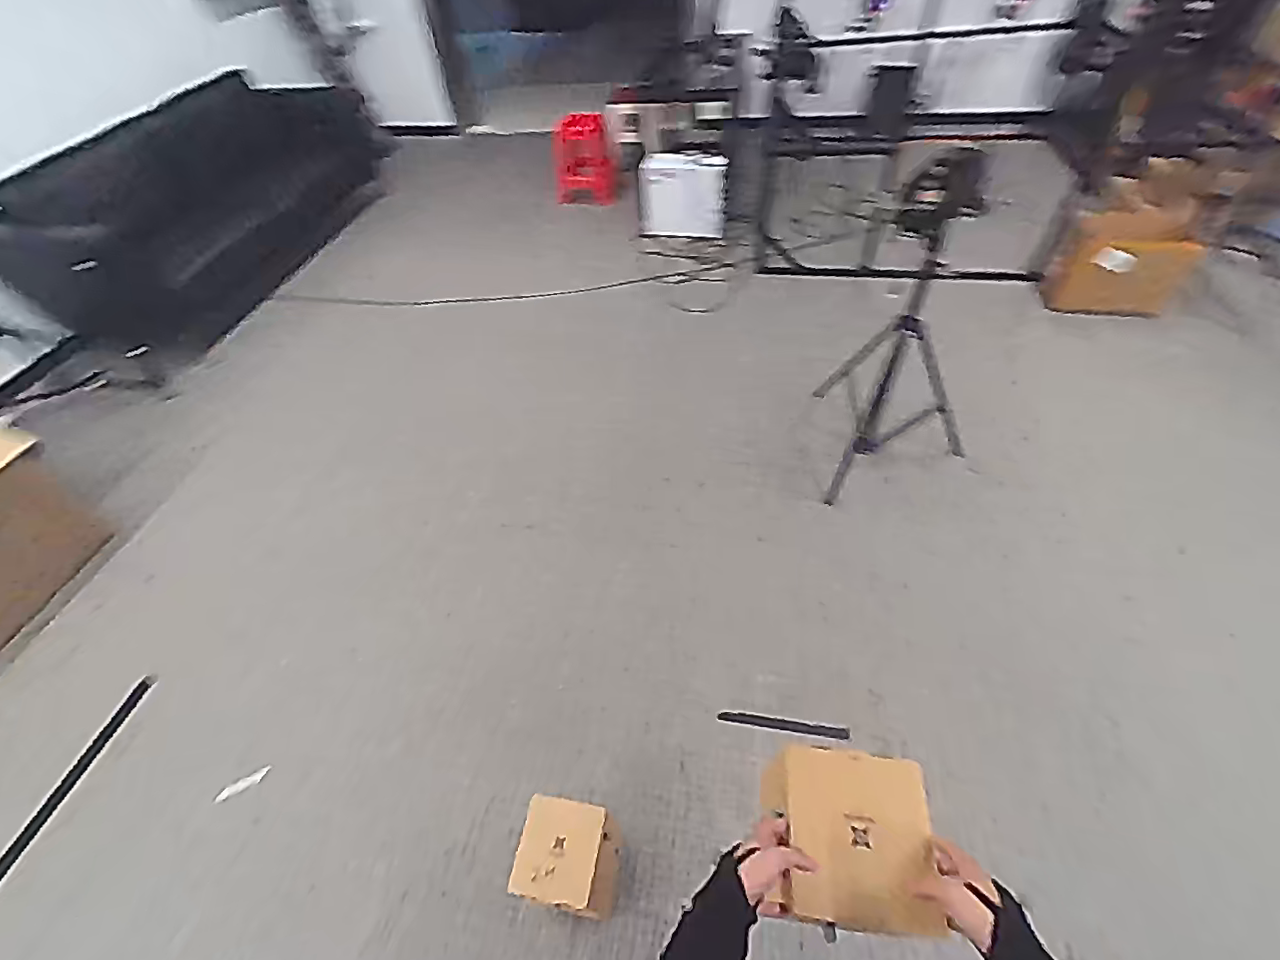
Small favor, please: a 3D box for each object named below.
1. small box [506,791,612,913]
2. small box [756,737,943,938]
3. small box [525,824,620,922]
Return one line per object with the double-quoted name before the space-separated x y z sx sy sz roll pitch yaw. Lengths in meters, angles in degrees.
"small box" -0.160 0.791 1.150 0.168 0.176 0.179 5 50 12
"small box" 0.244 0.449 0.677 0.168 0.176 0.179 7 49 4
"small box" -0.148 0.905 1.267 0.168 0.176 0.179 5 50 12
